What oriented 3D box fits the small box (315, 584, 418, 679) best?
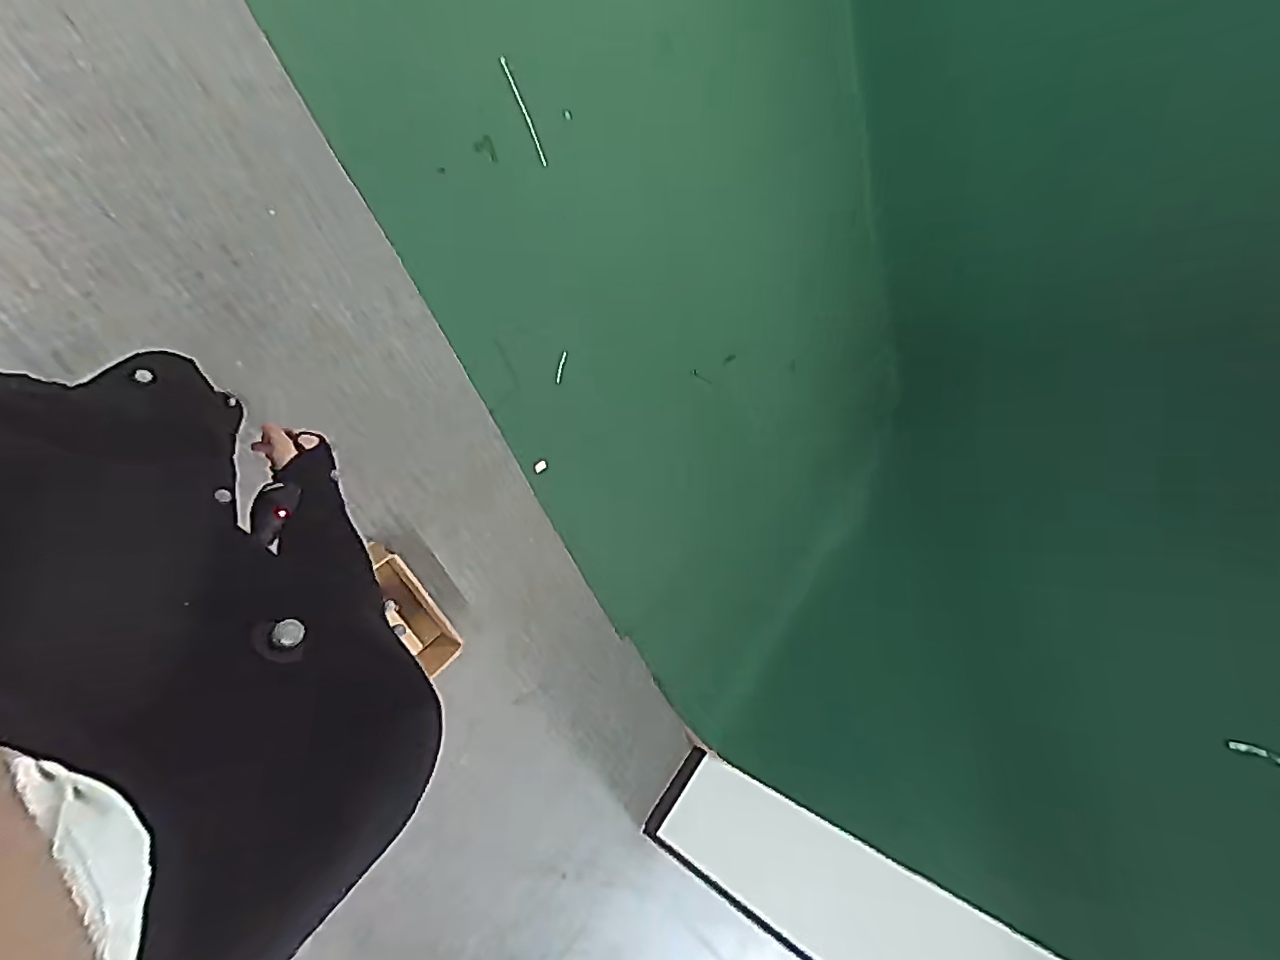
[{"bbox_3d":[-0.762,0.409,1.500,0.168,0.176,0.179,-43,124,-31],"label":"small box"}]
